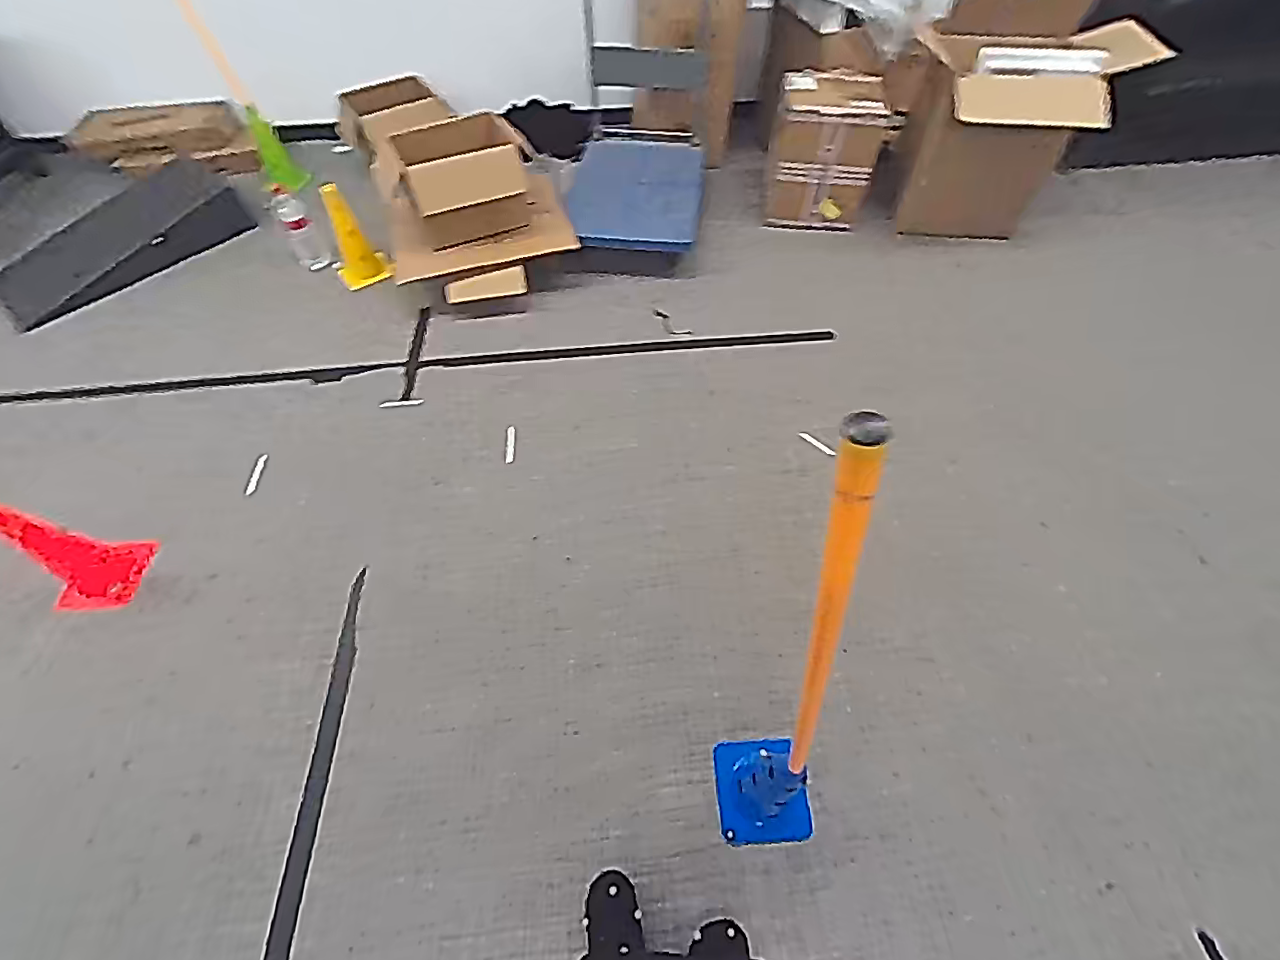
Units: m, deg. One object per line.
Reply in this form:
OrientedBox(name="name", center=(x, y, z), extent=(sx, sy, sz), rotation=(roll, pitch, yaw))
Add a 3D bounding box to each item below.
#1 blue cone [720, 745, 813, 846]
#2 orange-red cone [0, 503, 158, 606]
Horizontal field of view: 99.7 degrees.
OrientedBox(name="blue cone", center=(0.275, 0.606, 1.070), extent=(0.193, 0.380, 0.192), rotation=(-1, 56, 0))
OrientedBox(name="orange-red cone", center=(-1.490, 0.159, 1.377), extent=(0.198, 0.360, 0.199), rotation=(-1, 54, -1))
